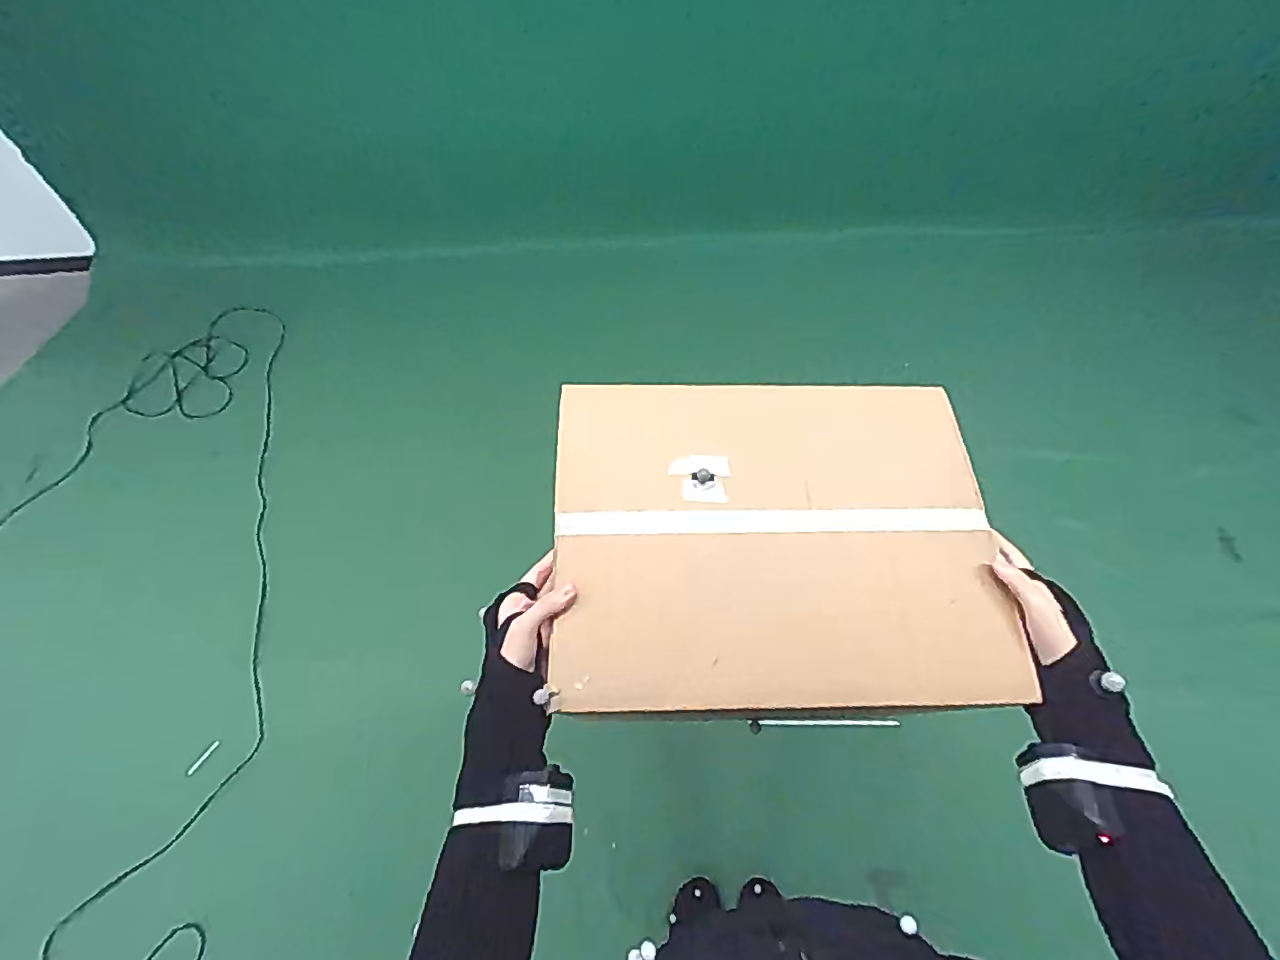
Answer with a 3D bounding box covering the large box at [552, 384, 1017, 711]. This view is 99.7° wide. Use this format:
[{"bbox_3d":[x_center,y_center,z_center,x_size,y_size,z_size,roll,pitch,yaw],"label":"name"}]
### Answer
[{"bbox_3d":[0.119,0.102,0.648,0.408,0.320,0.320,-1,65,-1],"label":"large box"}]
